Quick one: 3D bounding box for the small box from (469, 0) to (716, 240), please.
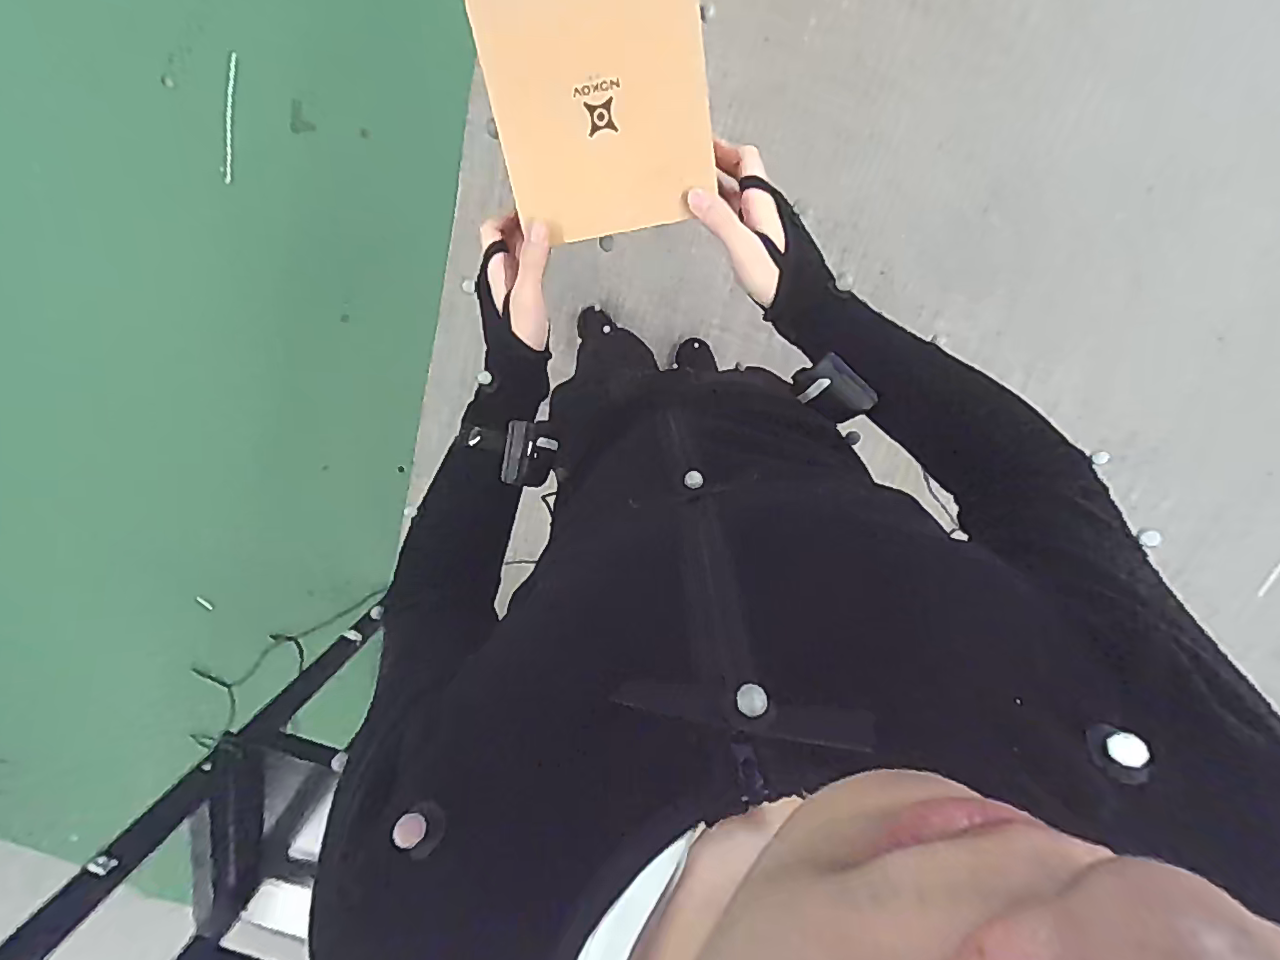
[{"bbox_3d":[-0.025,-0.321,0.474,0.168,0.176,0.179,-7,116,7],"label":"small box"}]
